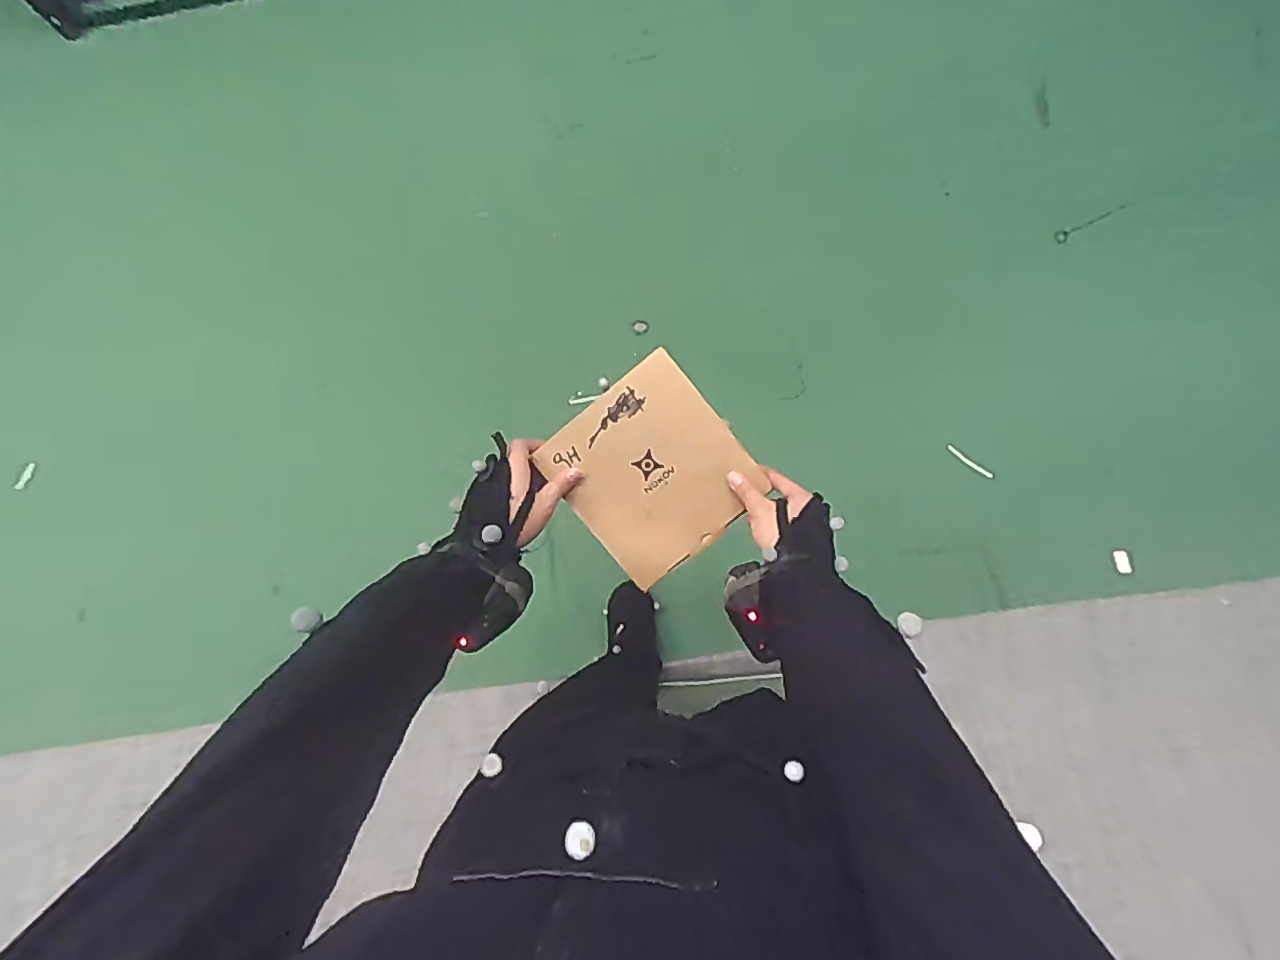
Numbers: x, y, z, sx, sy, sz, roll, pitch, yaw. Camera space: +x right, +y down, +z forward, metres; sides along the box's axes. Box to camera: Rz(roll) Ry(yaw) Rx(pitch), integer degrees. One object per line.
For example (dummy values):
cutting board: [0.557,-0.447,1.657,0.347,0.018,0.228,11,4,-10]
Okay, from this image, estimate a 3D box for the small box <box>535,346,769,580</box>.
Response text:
small box: [0.013,-0.024,0.605,0.168,0.176,0.179,-39,95,4]
